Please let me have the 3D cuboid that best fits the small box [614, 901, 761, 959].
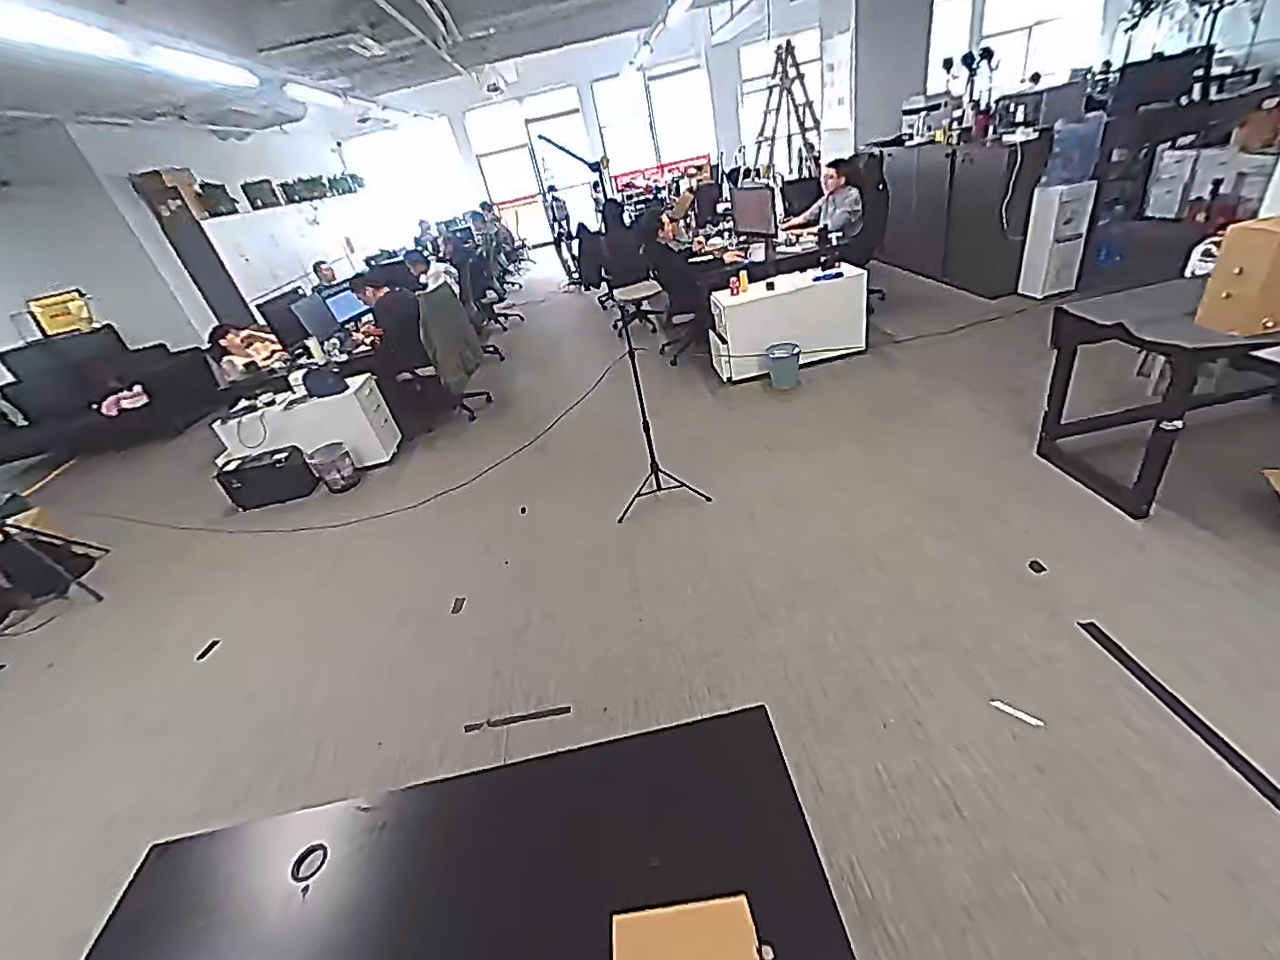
[{"bbox_3d":[0.067,0.623,0.612,0.168,0.176,0.179,-12,31,5],"label":"small box"}]
